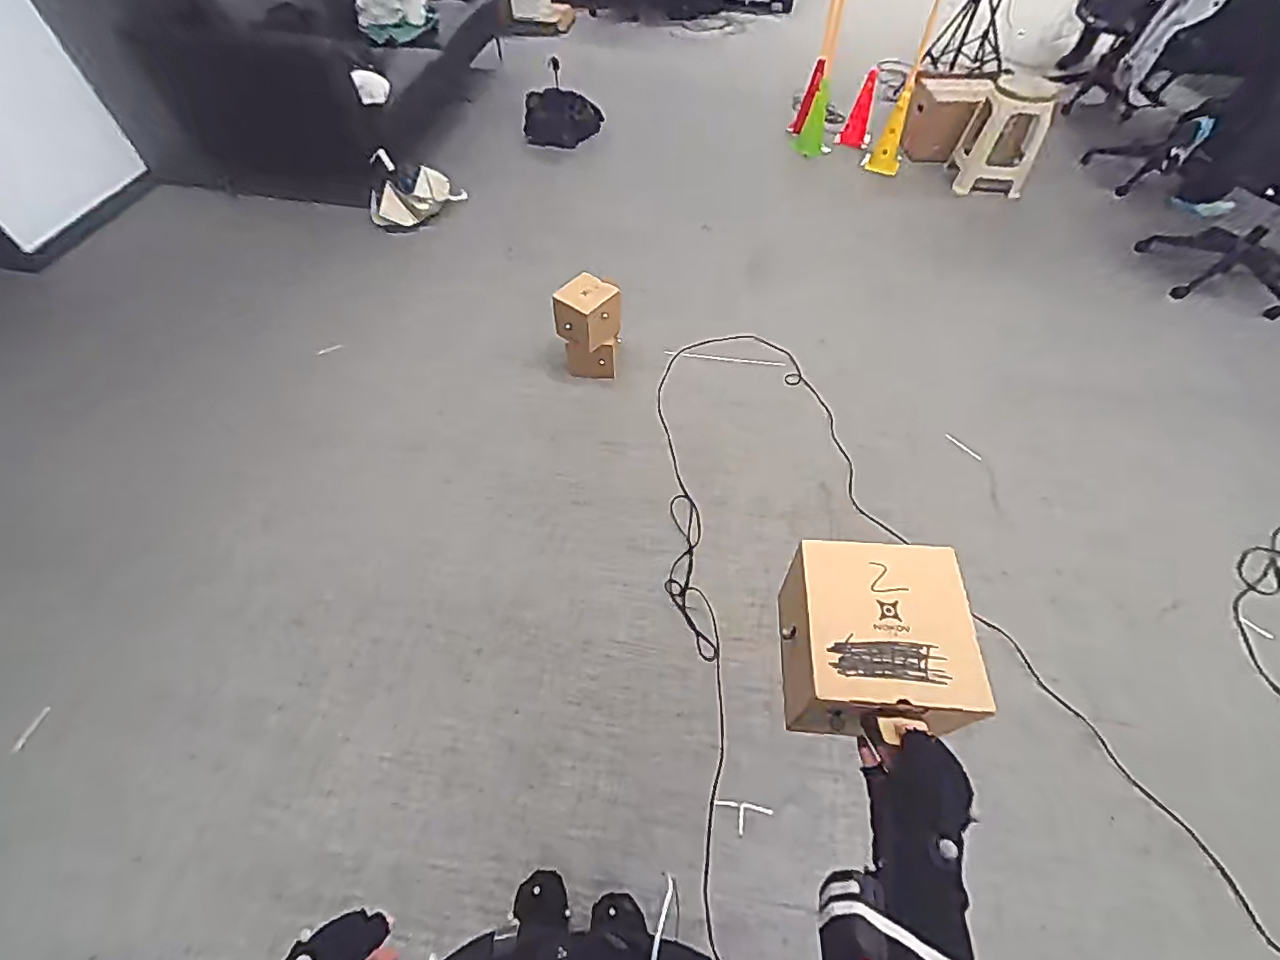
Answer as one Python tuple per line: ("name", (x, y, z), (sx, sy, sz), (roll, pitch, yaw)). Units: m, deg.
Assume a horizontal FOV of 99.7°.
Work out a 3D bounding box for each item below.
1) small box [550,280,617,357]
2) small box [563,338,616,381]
("small box", (-0.192, -0.568, 1.916), (0.168, 0.176, 0.179), (33, 60, 21))
("small box", (-0.185, -0.493, 2.045), (0.179, 0.176, 0.168), (3, 54, 2))
